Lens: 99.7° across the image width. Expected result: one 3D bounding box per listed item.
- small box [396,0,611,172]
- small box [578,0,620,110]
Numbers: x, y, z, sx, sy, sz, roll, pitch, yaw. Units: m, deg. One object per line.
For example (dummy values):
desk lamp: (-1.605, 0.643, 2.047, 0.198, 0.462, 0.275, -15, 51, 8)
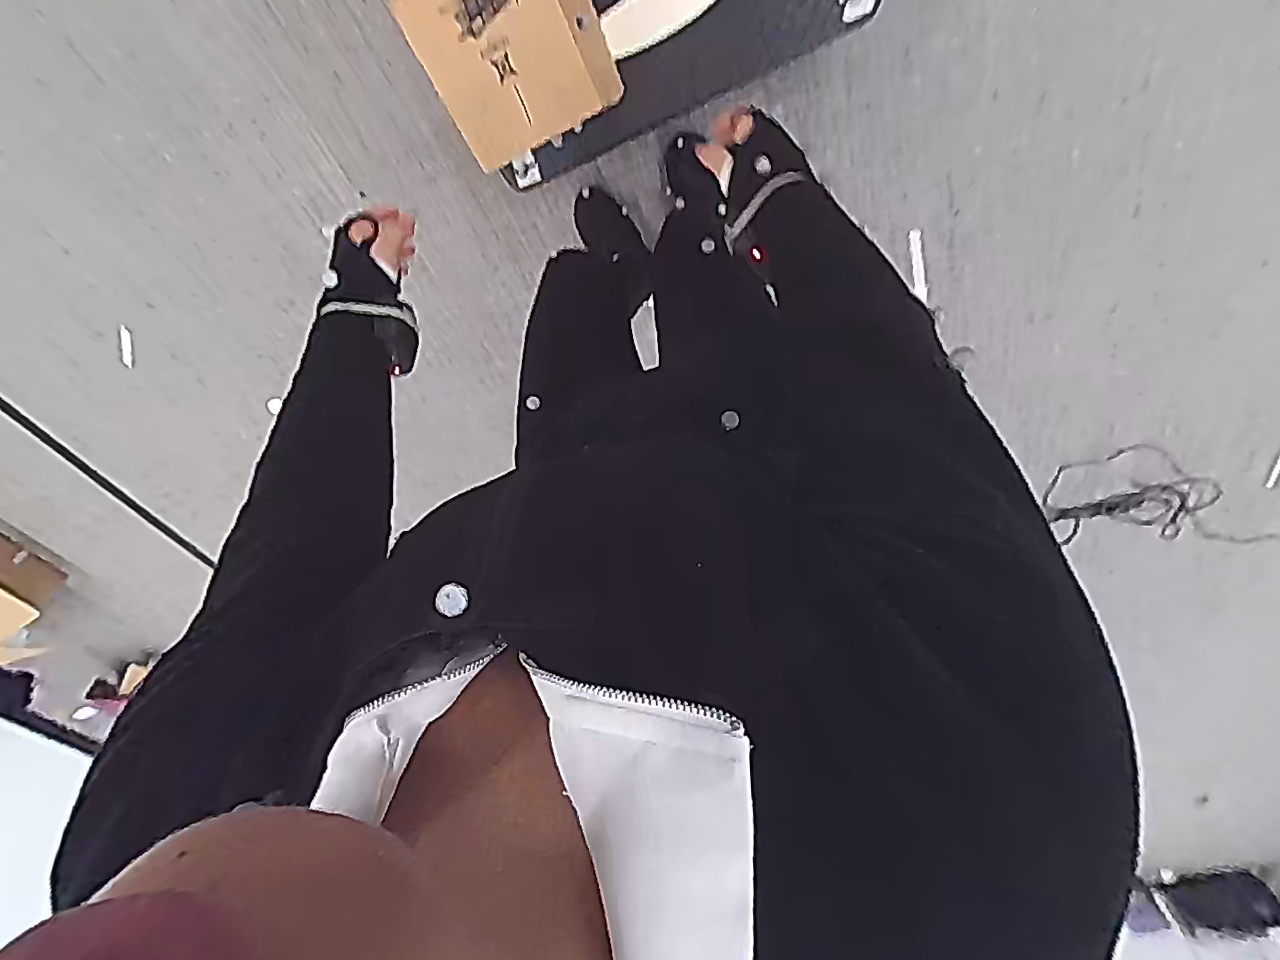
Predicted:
small box: (-0.146, -0.508, 0.648, 0.168, 0.176, 0.179, -18, 127, 17)
small box: (-0.137, -0.608, 0.778, 0.168, 0.176, 0.179, -17, 127, 16)
